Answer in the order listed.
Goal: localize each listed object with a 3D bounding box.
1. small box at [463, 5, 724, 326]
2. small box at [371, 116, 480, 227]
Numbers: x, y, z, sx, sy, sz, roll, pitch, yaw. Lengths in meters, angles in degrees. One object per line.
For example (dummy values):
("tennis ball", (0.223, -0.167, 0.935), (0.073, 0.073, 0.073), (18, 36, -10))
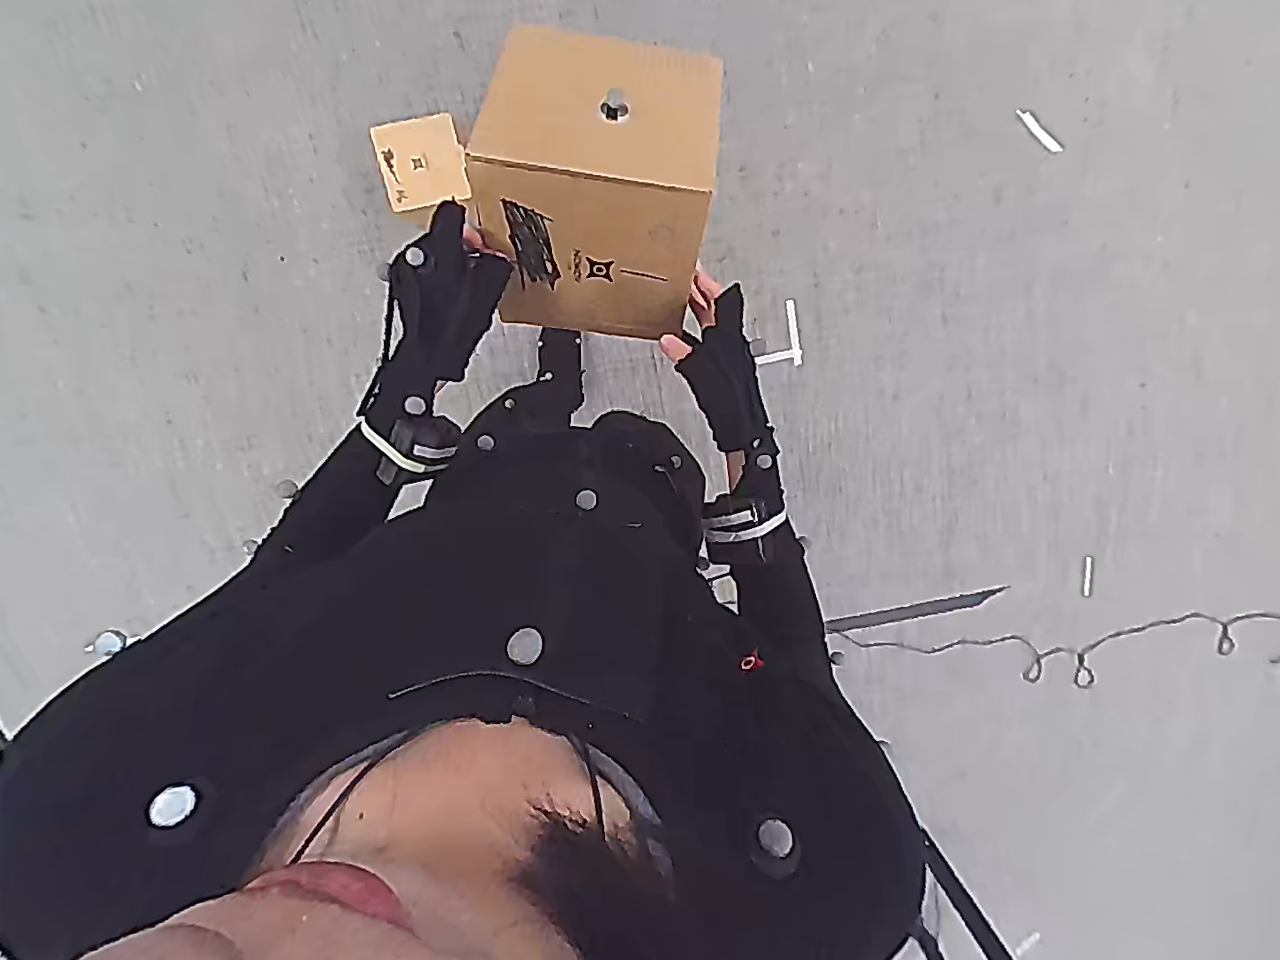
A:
("small box", (-0.032, -0.262, 0.466), (0.179, 0.168, 0.176), (7, 66, -2))
("small box", (-0.465, -0.684, 1.215), (0.179, 0.176, 0.168), (-12, 105, -2))
